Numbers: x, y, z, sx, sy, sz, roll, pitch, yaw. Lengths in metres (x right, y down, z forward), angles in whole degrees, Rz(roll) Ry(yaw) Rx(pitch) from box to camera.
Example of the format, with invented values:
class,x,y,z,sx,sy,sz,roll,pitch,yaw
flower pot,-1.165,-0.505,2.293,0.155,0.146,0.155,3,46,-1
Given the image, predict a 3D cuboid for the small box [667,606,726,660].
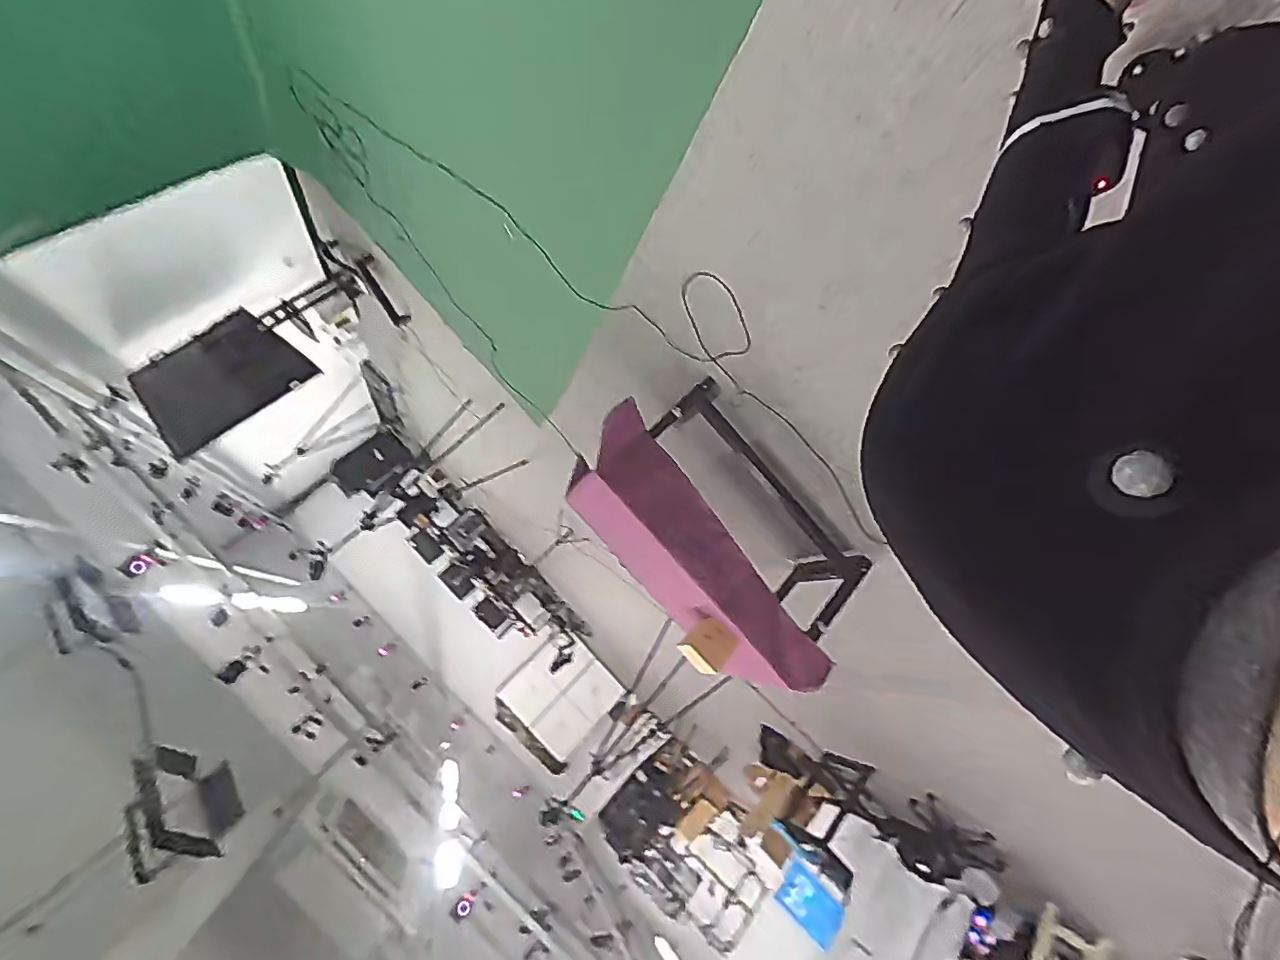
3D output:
class,x,y,z,sx,sy,sz,roll,pitch,yaw
small box,0.251,0.667,2.367,0.168,0.176,0.179,47,158,2
